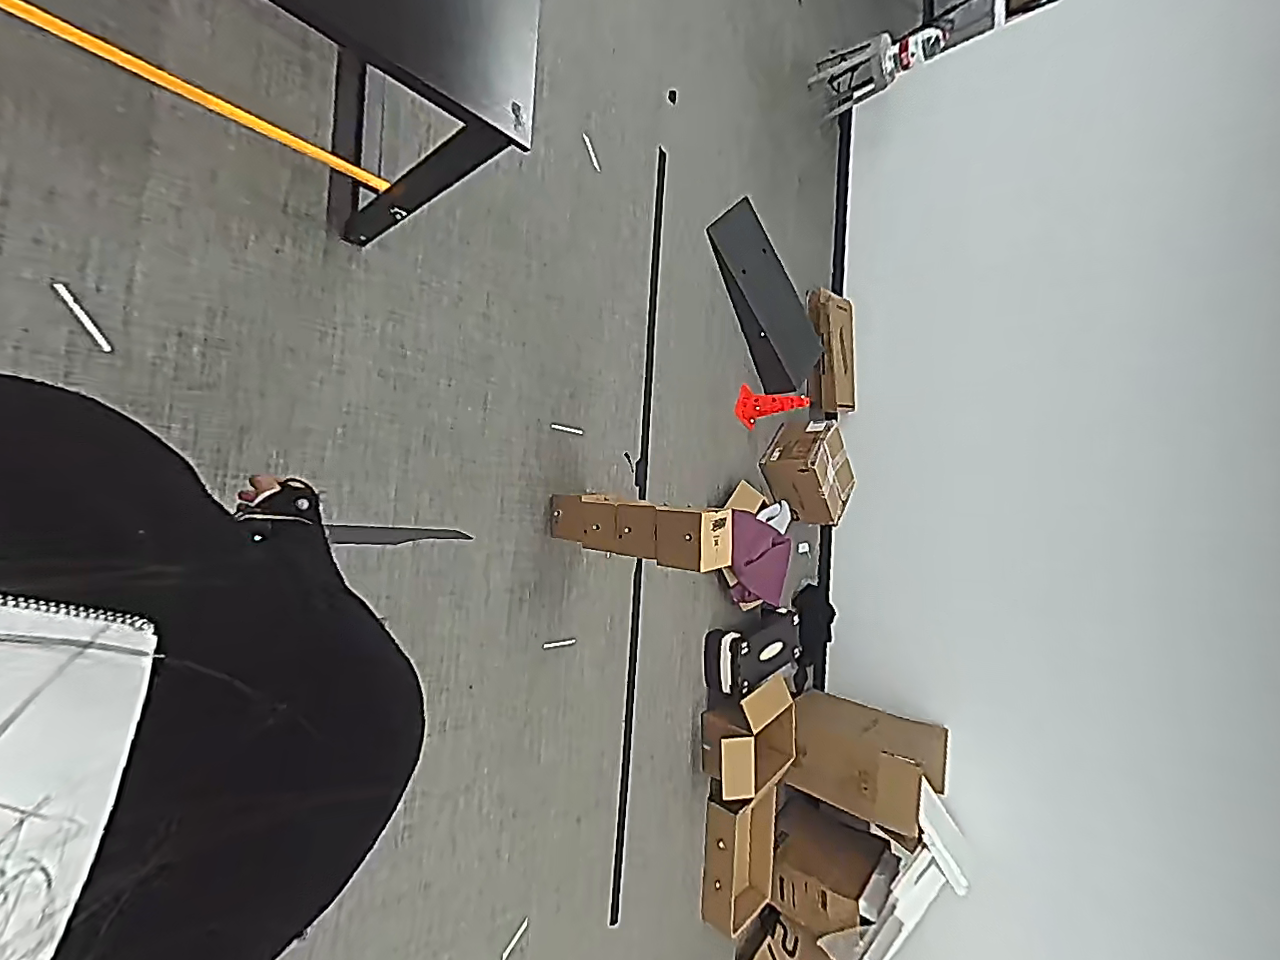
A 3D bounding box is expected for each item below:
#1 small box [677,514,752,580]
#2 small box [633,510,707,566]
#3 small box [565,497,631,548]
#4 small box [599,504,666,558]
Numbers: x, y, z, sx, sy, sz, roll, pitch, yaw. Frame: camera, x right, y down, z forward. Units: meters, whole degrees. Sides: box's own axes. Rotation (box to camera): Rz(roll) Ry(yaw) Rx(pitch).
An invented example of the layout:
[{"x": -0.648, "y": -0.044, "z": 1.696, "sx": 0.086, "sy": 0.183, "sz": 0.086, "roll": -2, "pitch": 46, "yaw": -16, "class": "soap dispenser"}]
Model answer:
[{"x": 0.223, "y": 0.195, "z": 1.634, "sx": 0.168, "sy": 0.176, "sz": 0.179, "roll": -2, "pitch": 93, "yaw": -49, "class": "small box"}, {"x": 0.099, "y": 0.182, "z": 1.742, "sx": 0.179, "sy": 0.176, "sz": 0.168, "roll": 3, "pitch": 88, "yaw": -49, "class": "small box"}, {"x": -0.150, "y": 0.148, "z": 1.956, "sx": 0.179, "sy": 0.176, "sz": 0.168, "roll": -3, "pitch": 93, "yaw": -48, "class": "small box"}, {"x": -0.028, "y": 0.170, "z": 1.847, "sx": 0.179, "sy": 0.176, "sz": 0.168, "roll": -4, "pitch": 94, "yaw": -48, "class": "small box"}]
